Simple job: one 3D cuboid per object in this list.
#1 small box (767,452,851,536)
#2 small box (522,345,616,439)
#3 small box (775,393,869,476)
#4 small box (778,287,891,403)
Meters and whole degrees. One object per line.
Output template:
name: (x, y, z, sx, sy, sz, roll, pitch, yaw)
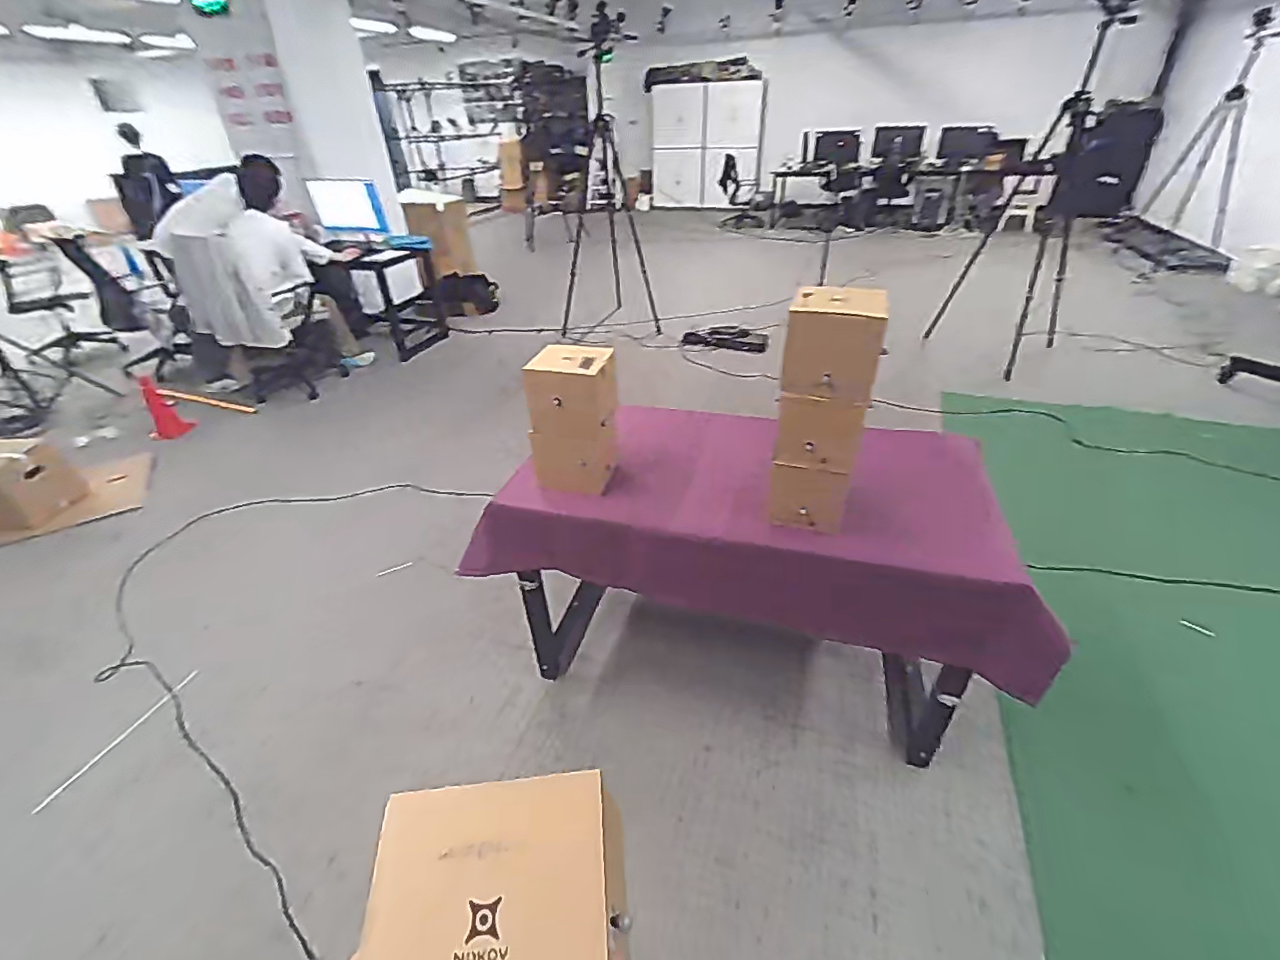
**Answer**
small box: (0.393, 0.002, 1.256, 0.168, 0.176, 0.179, 9, 36, 17)
small box: (-0.162, -0.212, 1.311, 0.179, 0.176, 0.168, 7, 35, 13)
small box: (0.390, -0.132, 1.164, 0.168, 0.176, 0.179, 10, 37, 17)
small box: (0.383, -0.267, 1.070, 0.179, 0.176, 0.168, 12, 37, 18)
